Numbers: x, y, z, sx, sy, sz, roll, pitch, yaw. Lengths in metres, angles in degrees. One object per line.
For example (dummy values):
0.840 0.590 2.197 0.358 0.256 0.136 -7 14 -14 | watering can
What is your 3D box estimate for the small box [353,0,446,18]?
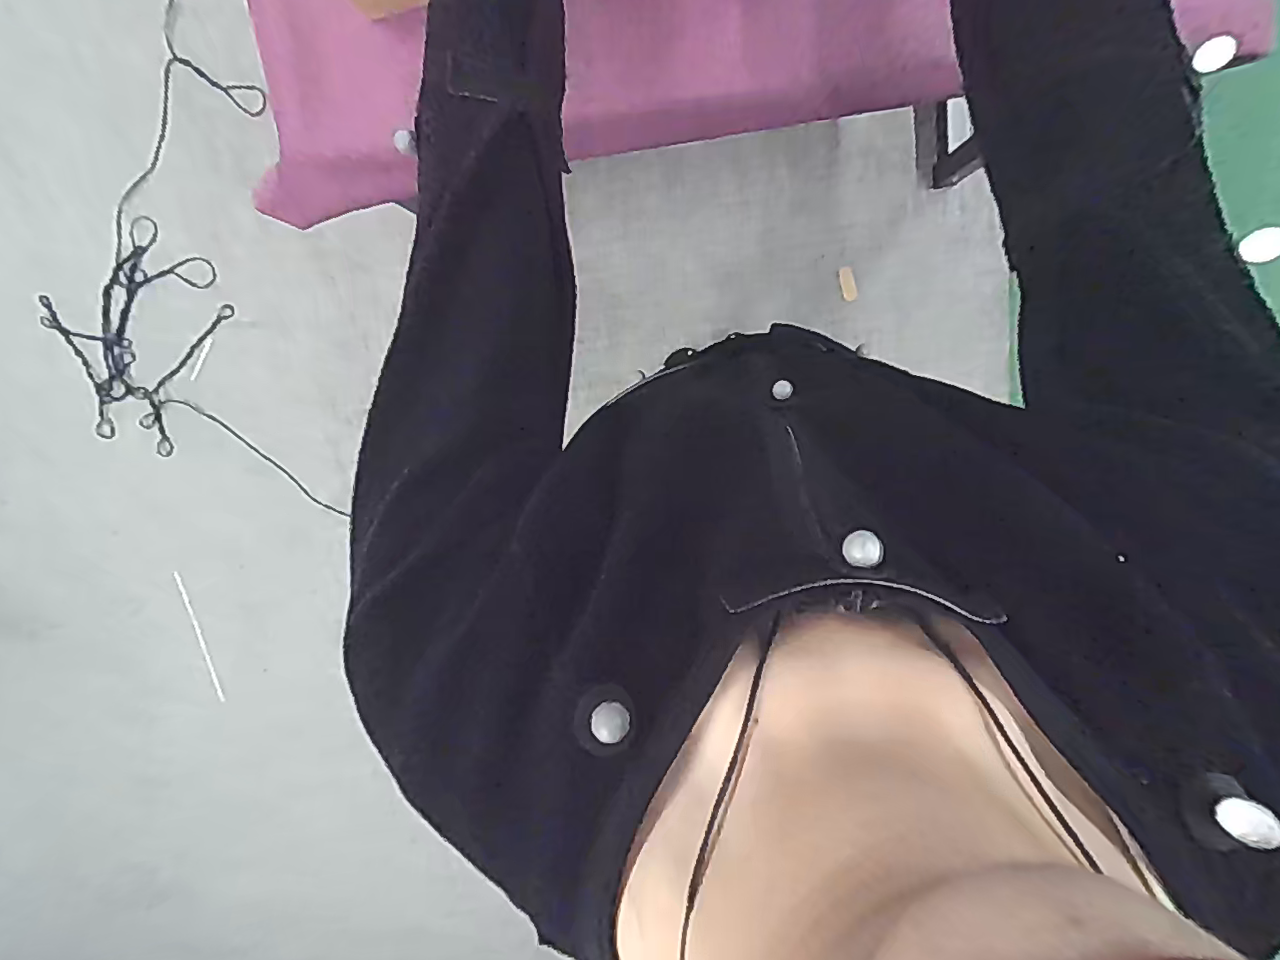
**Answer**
-0.285 -0.657 0.587 0.179 0.176 0.168 -11 101 7 | small box
